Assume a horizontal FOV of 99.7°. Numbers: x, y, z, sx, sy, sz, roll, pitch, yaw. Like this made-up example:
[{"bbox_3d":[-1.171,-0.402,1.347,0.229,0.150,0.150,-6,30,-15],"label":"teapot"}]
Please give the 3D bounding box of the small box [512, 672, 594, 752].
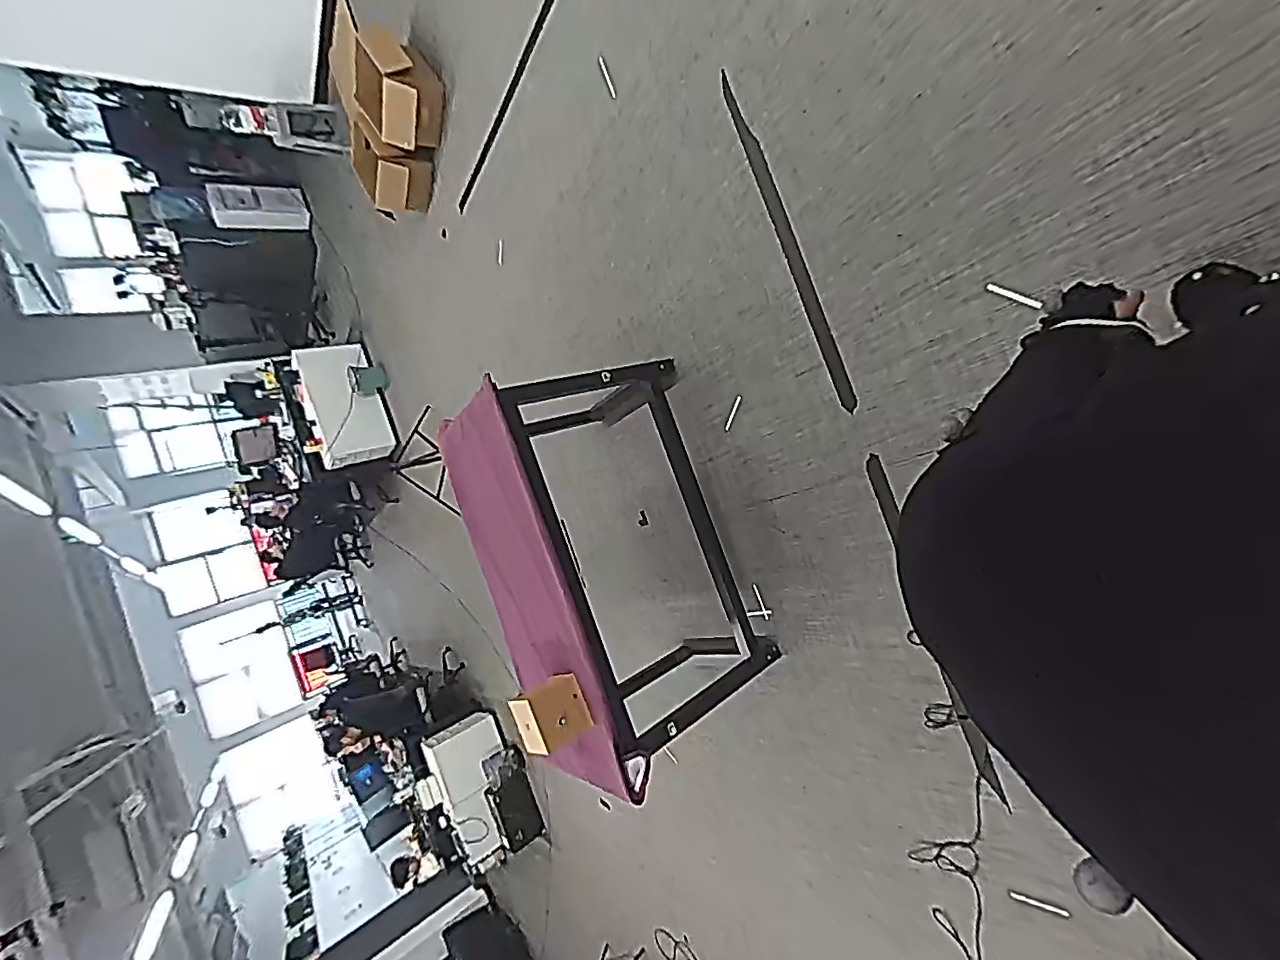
[{"bbox_3d":[-0.262,0.702,1.649,0.179,0.176,0.168,-35,77,53],"label":"small box"}]
